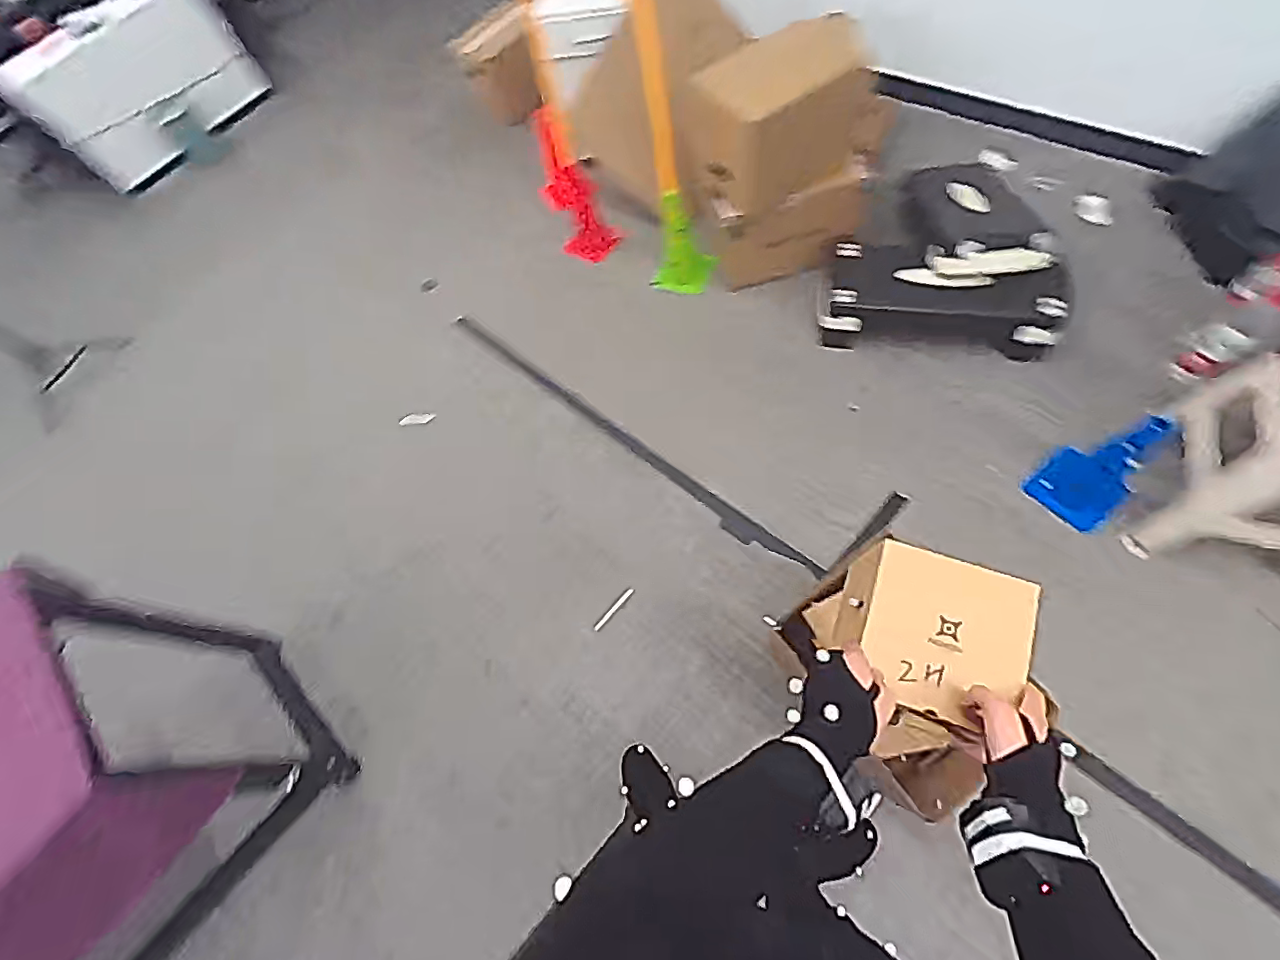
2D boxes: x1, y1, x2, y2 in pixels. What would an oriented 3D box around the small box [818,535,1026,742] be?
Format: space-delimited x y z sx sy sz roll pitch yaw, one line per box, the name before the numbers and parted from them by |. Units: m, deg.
small box | 0.327 0.189 0.657 0.168 0.176 0.179 16 74 13
